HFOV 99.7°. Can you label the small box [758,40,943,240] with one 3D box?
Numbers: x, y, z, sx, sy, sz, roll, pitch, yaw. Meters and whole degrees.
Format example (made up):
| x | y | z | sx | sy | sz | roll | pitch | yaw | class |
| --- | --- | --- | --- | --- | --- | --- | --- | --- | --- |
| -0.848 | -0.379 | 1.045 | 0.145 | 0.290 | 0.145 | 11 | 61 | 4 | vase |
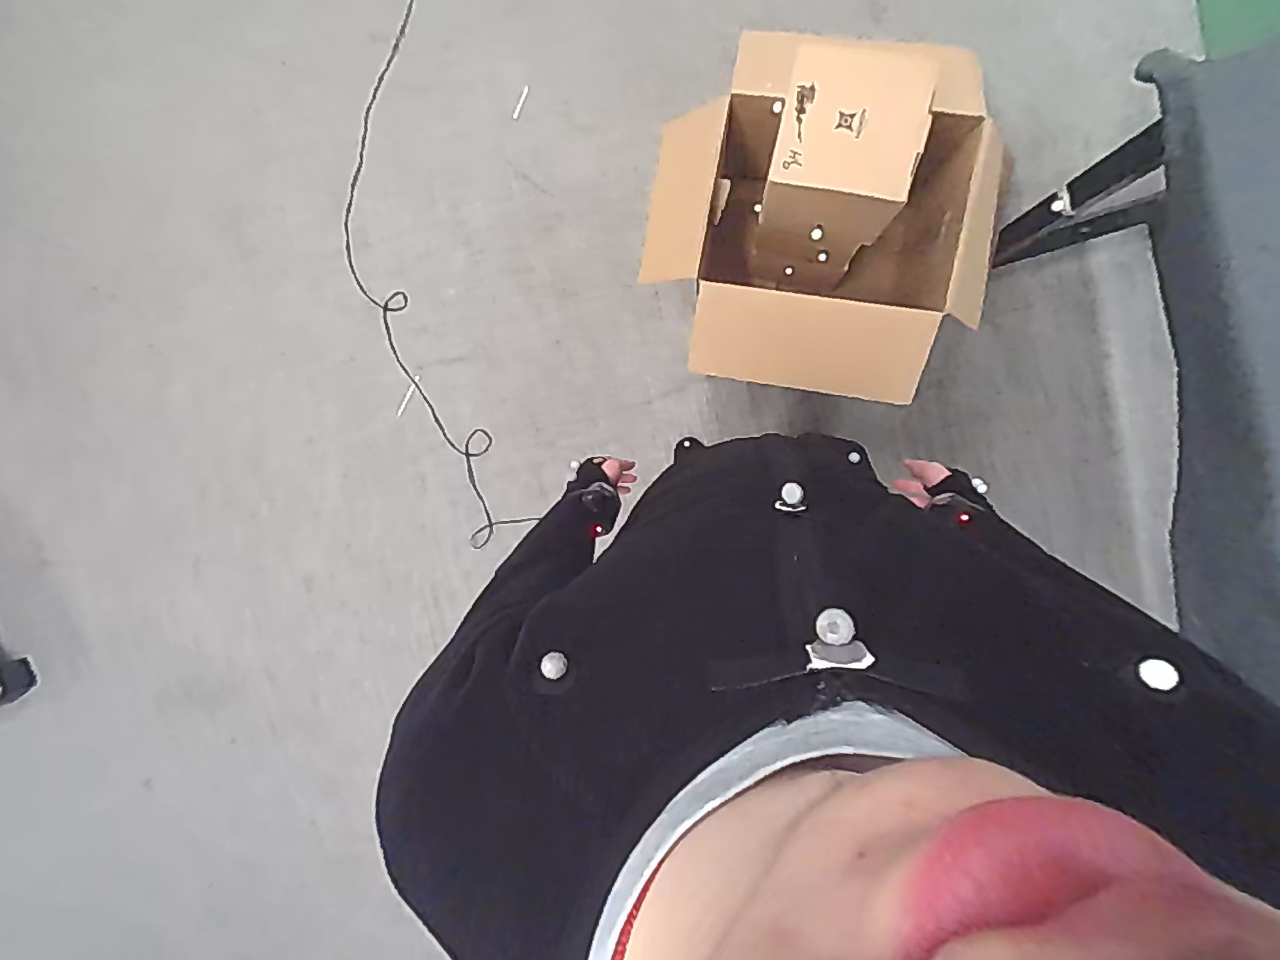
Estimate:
| x | y | z | sx | sy | sz | roll | pitch | yaw | class |
| --- | --- | --- | --- | --- | --- | --- | --- | --- | --- |
| 0.272 | -0.449 | 0.744 | 0.179 | 0.176 | 0.168 | 14 | 98 | 6 | small box |
